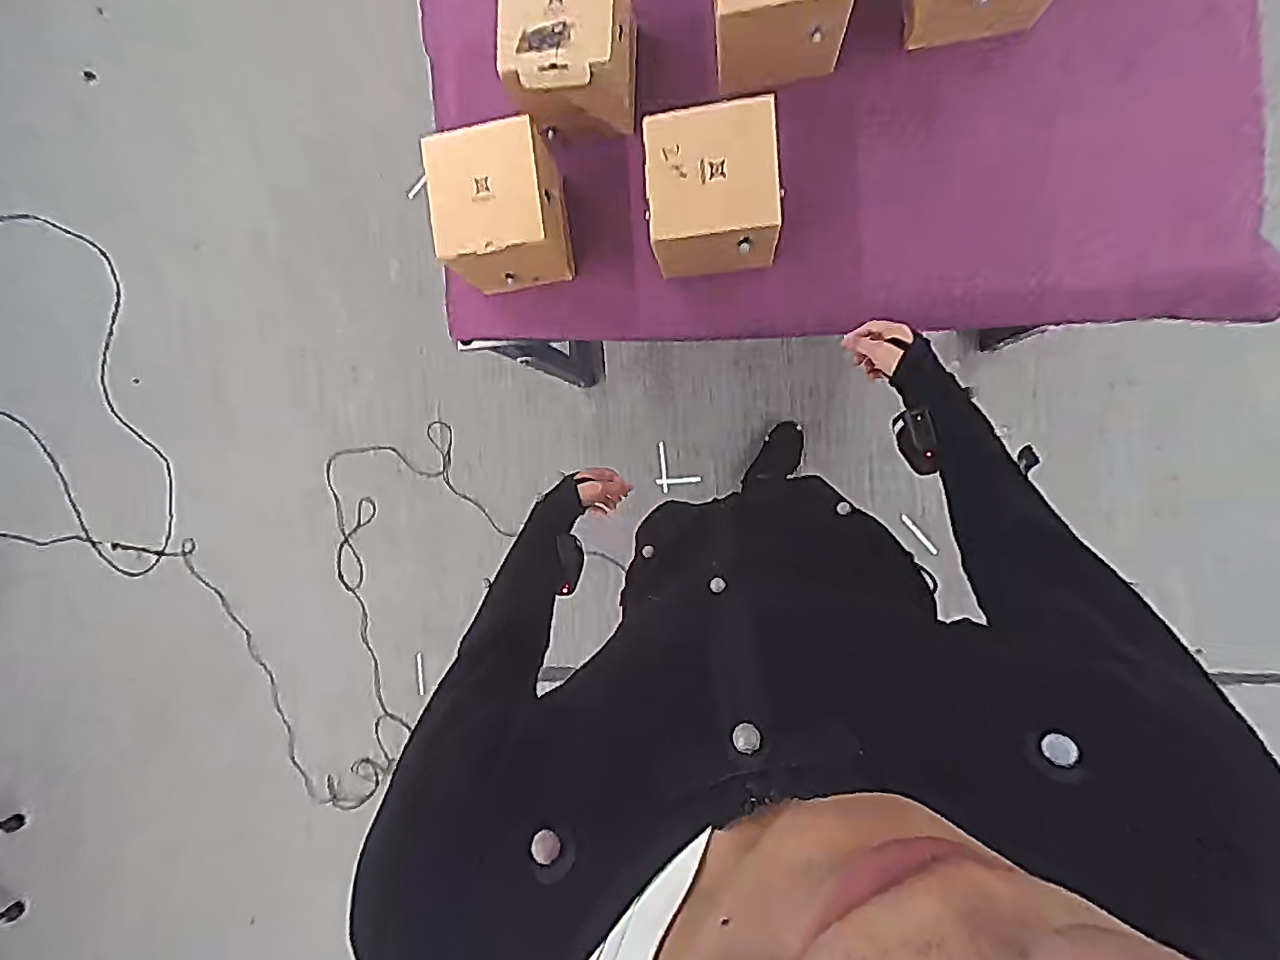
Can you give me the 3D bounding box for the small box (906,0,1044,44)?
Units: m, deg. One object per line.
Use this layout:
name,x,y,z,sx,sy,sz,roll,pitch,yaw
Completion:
small box,0.461,-0.722,0.710,0.179,0.176,0.168,-3,95,10

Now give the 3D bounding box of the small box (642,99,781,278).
small box,0.104,-0.408,0.787,0.179,0.176,0.168,-3,92,10

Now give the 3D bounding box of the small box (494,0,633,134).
small box,-0.105,-0.647,0.809,0.168,0.176,0.179,2,93,9

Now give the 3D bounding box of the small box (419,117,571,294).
small box,-0.214,-0.411,0.838,0.168,0.176,0.179,-8,92,8
